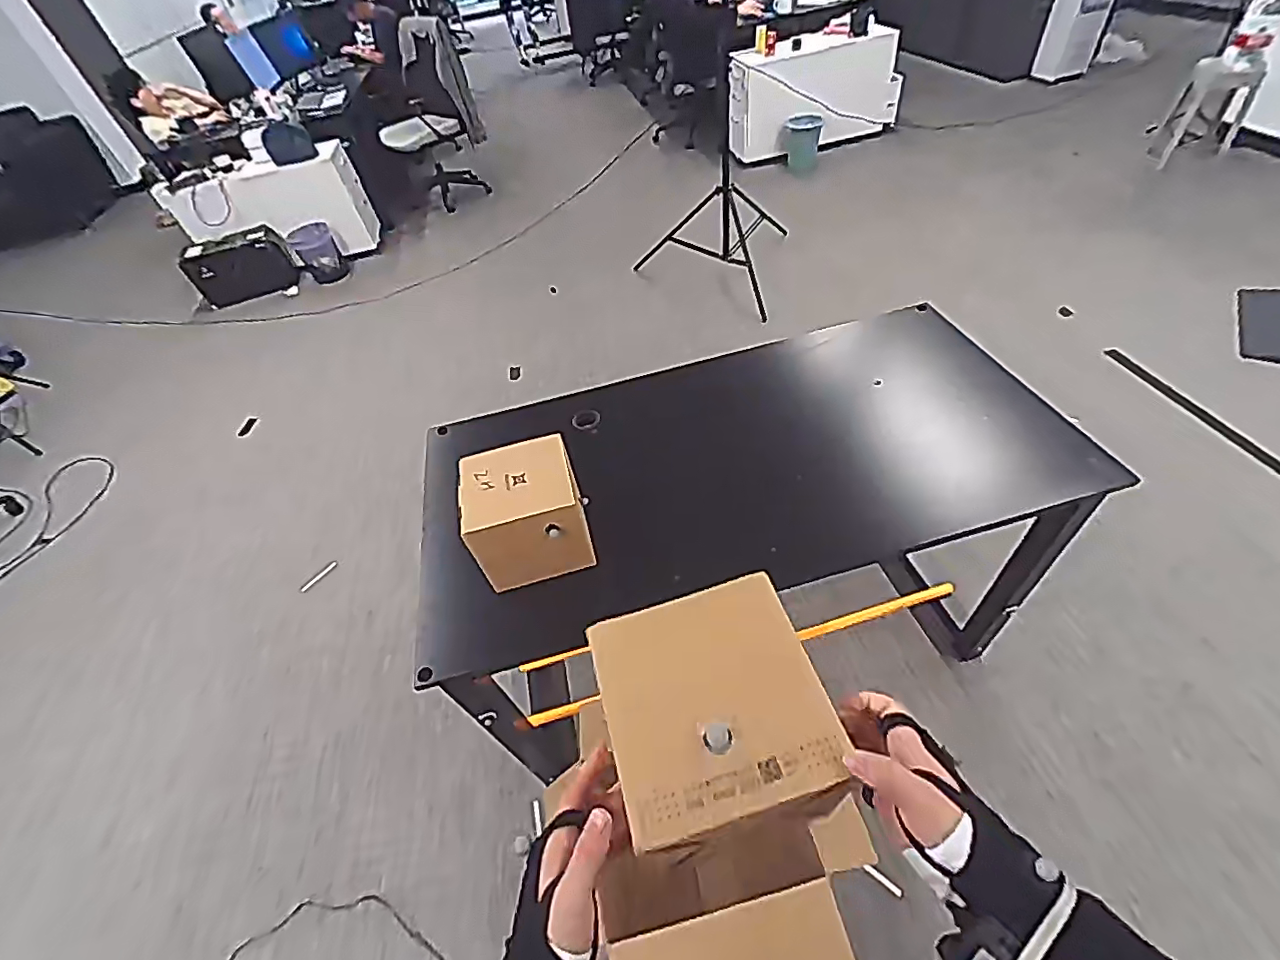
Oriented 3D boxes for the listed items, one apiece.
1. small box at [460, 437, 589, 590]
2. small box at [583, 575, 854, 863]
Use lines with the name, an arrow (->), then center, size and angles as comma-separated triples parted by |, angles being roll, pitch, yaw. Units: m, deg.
small box -> -0.189, 0.059, 0.911 | 0.179, 0.176, 0.168 | -15, 47, -4
small box -> 0.062, 0.217, 0.479 | 0.168, 0.179, 0.176 | -18, 54, -4
